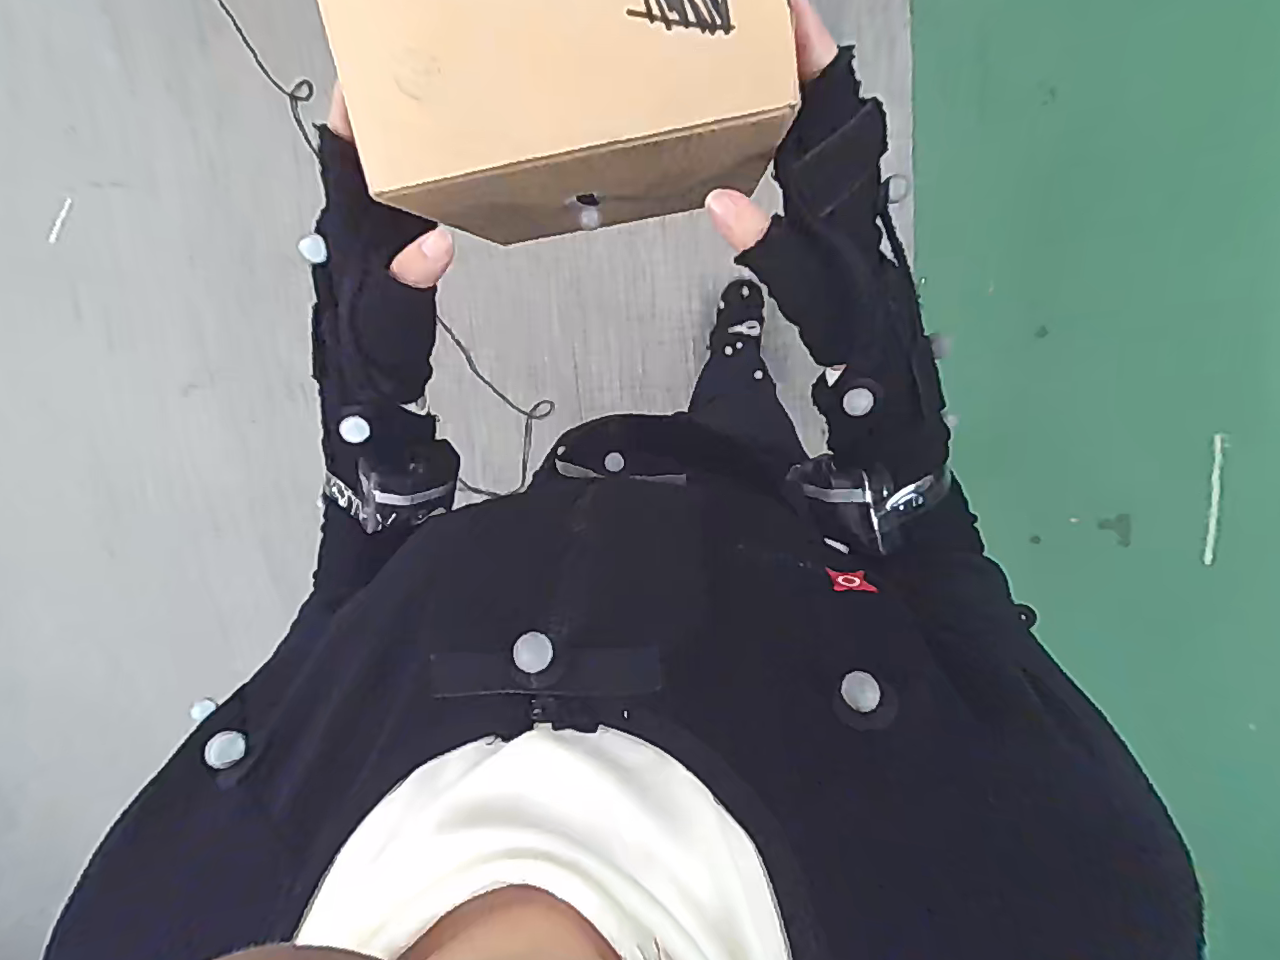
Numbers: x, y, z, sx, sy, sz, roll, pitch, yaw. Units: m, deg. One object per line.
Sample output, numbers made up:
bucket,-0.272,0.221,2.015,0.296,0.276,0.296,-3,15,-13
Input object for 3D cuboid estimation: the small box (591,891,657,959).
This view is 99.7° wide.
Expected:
small box,-0.041,1.338,1.569,0.168,0.176,0.179,-4,100,7

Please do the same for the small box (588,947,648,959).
small box,-0.060,1.371,1.411,0.168,0.176,0.179,-5,101,8

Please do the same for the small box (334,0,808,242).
small box,-0.030,-0.232,0.272,0.179,0.176,0.168,-10,105,7
